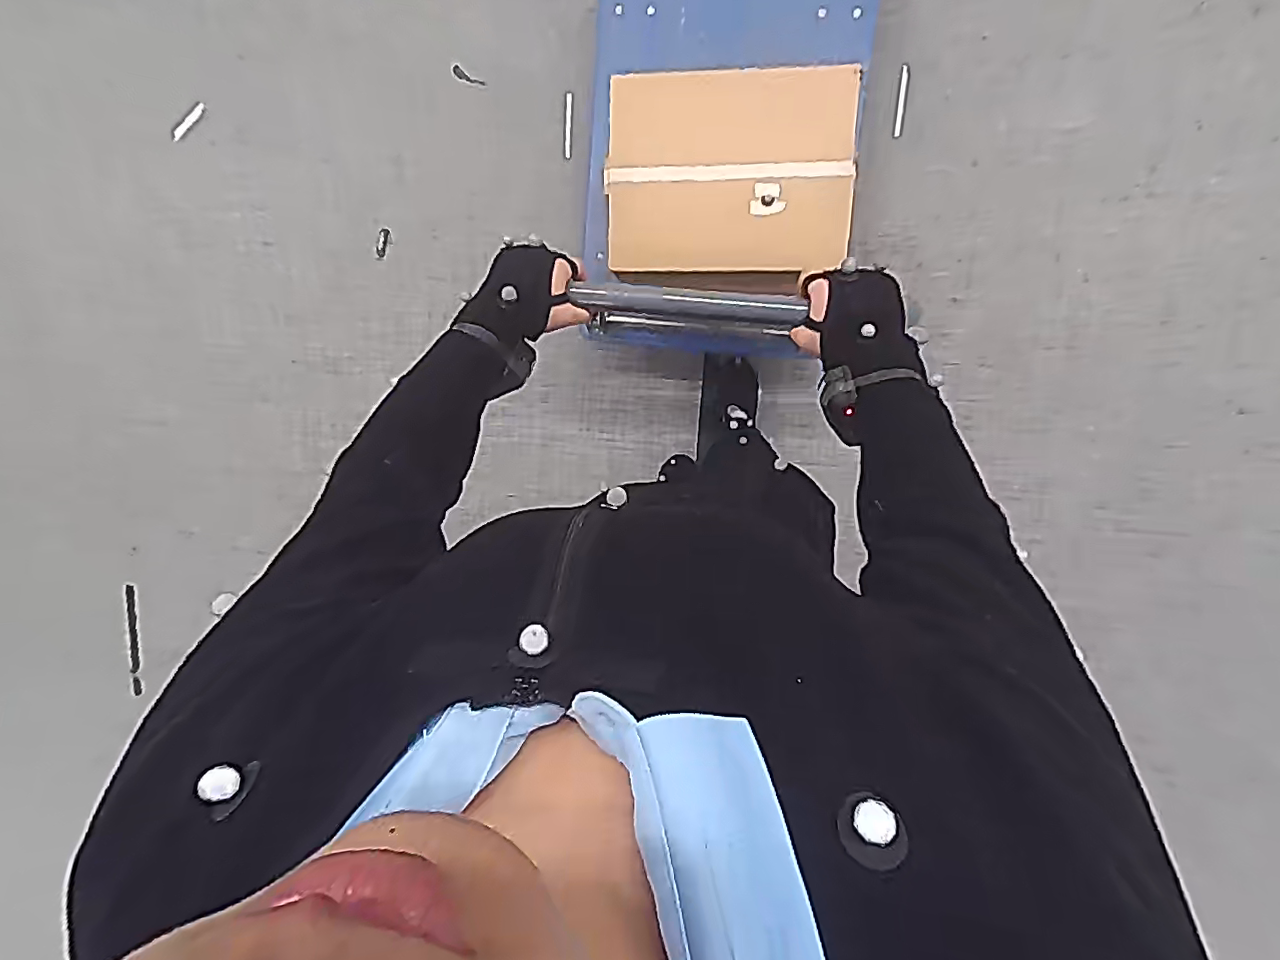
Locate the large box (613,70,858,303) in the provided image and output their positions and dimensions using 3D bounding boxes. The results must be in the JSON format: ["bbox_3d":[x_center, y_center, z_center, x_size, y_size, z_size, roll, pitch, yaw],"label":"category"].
[{"bbox_3d":[0.165,-0.534,1.056,0.408,0.320,0.320,2,100,5],"label":"large box"}]
